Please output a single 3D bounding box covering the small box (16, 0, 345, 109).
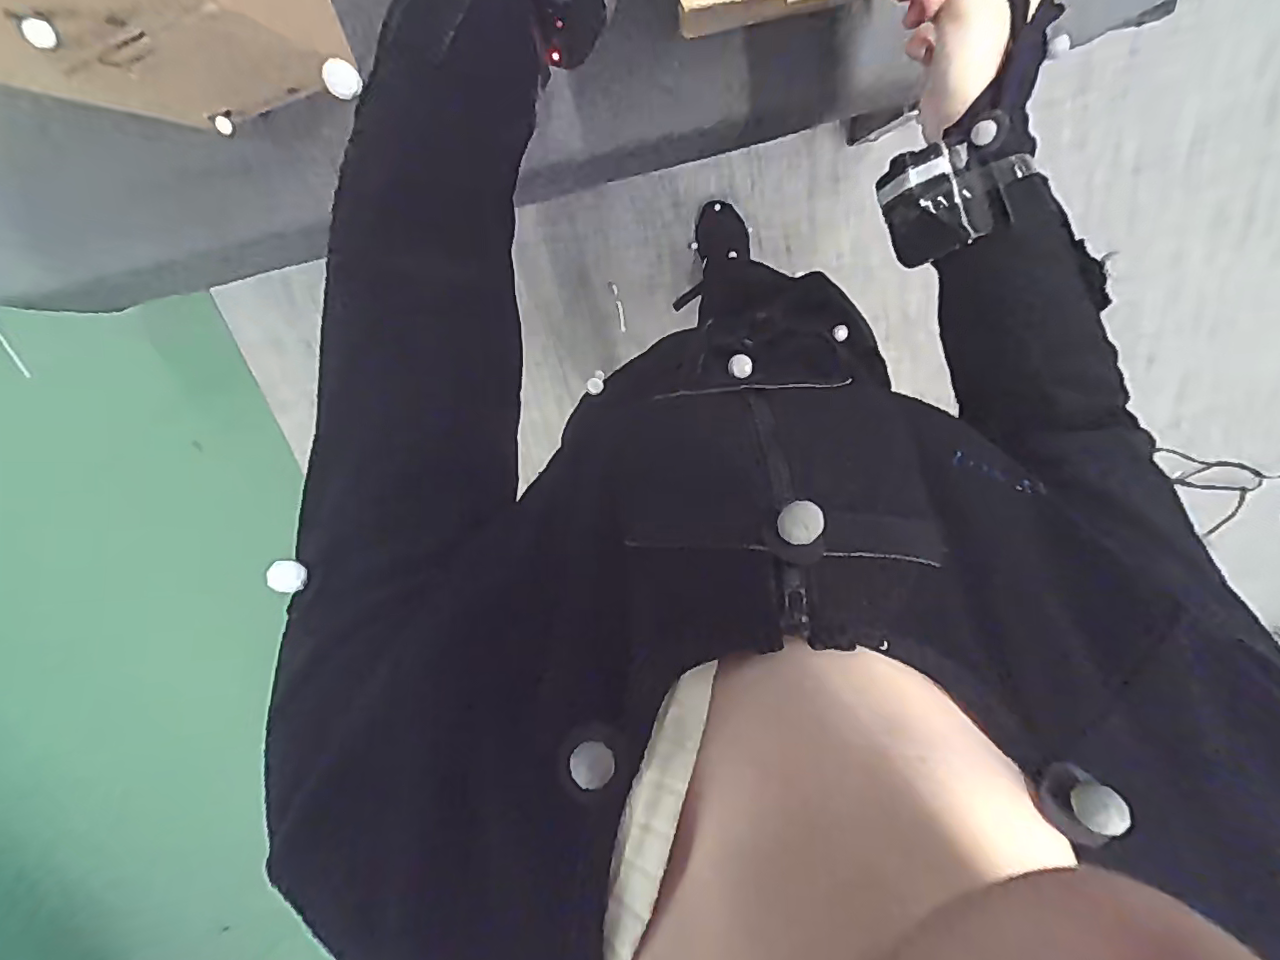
[{"bbox_3d":[-0.365,-0.405,0.403,0.168,0.176,0.179,-12,112,10],"label":"small box"}]

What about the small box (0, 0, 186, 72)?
[{"bbox_3d":[-0.380,-0.339,0.253,0.168,0.176,0.179,-14,112,12],"label":"small box"}]

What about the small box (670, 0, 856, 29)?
[{"bbox_3d":[0.091,-0.389,0.315,0.168,0.176,0.179,-6,124,9],"label":"small box"}]
